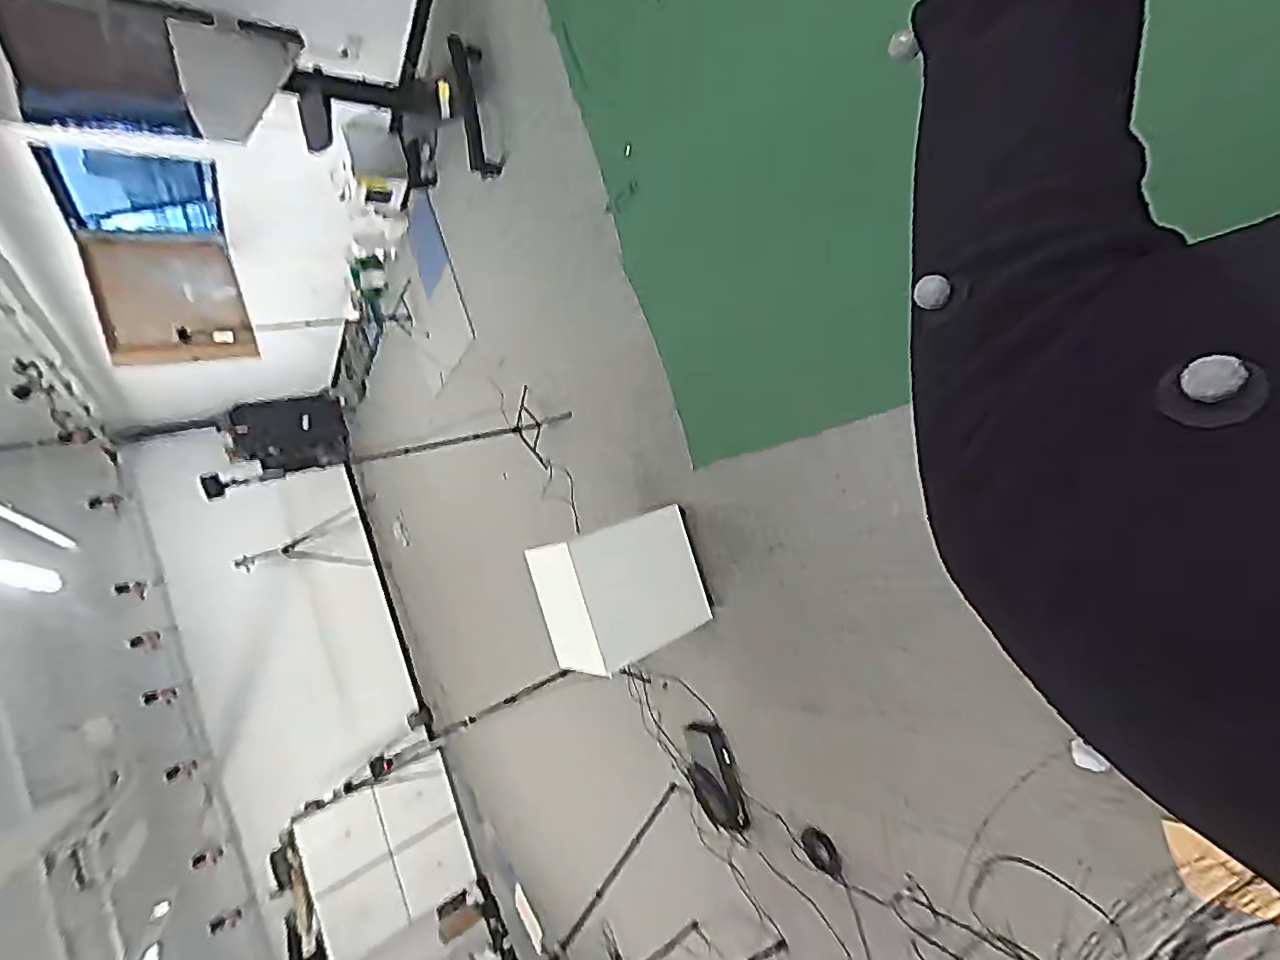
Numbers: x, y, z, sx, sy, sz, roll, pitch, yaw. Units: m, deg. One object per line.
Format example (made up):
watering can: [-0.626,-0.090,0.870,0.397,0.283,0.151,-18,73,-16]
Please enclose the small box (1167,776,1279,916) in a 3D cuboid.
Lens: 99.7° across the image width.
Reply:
small box: [1.221,0.728,1.088,0.179,0.176,0.168,-23,84,53]
